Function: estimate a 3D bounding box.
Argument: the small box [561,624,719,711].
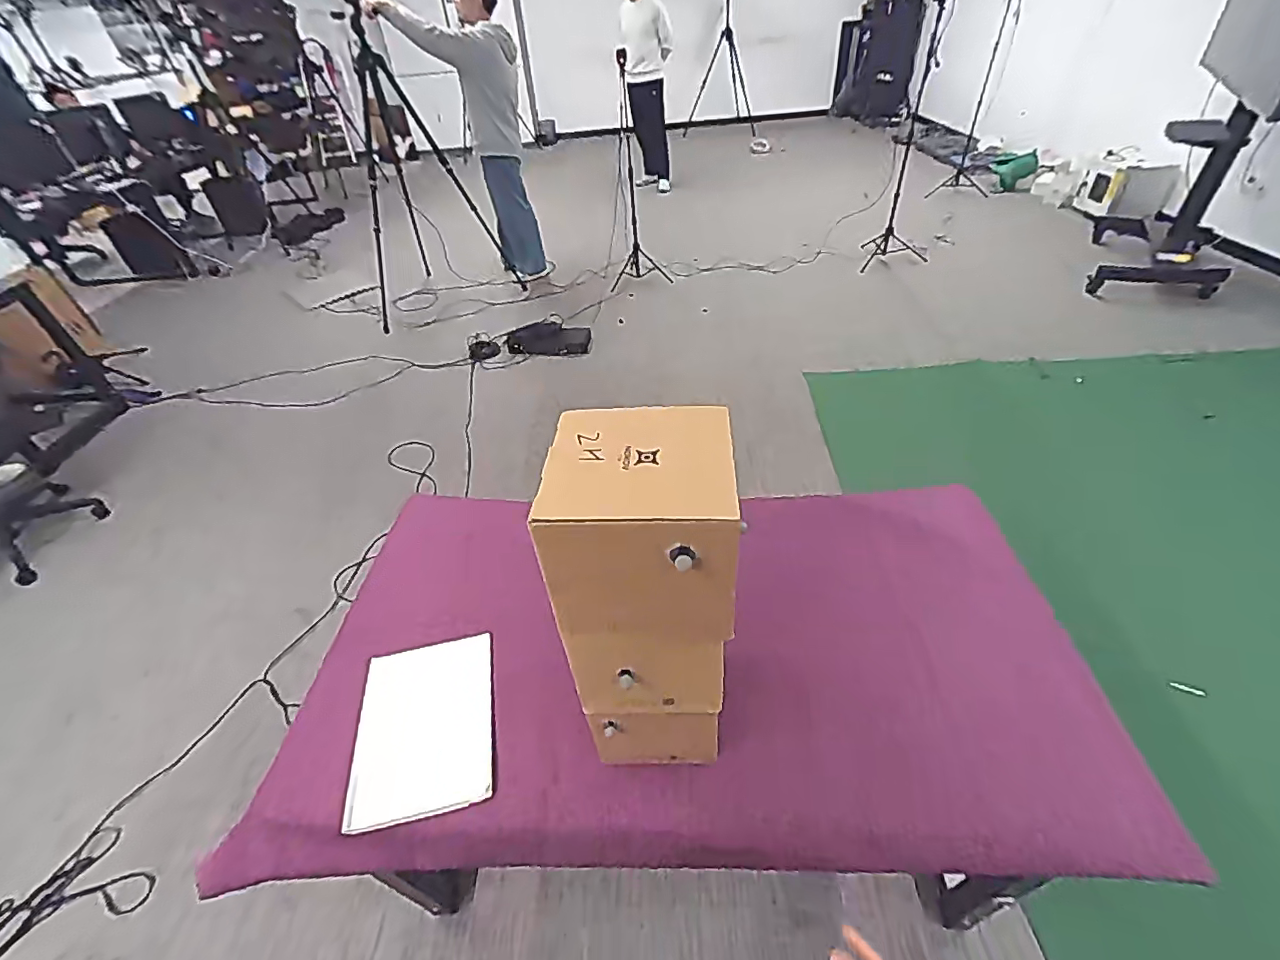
[{"bbox_3d":[0.009,0.164,0.660,0.168,0.176,0.179,-2,40,4],"label":"small box"}]

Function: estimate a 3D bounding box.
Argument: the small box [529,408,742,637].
[{"bbox_3d":[0.006,0.043,0.548,0.179,0.176,0.168,-1,40,6],"label":"small box"}]
